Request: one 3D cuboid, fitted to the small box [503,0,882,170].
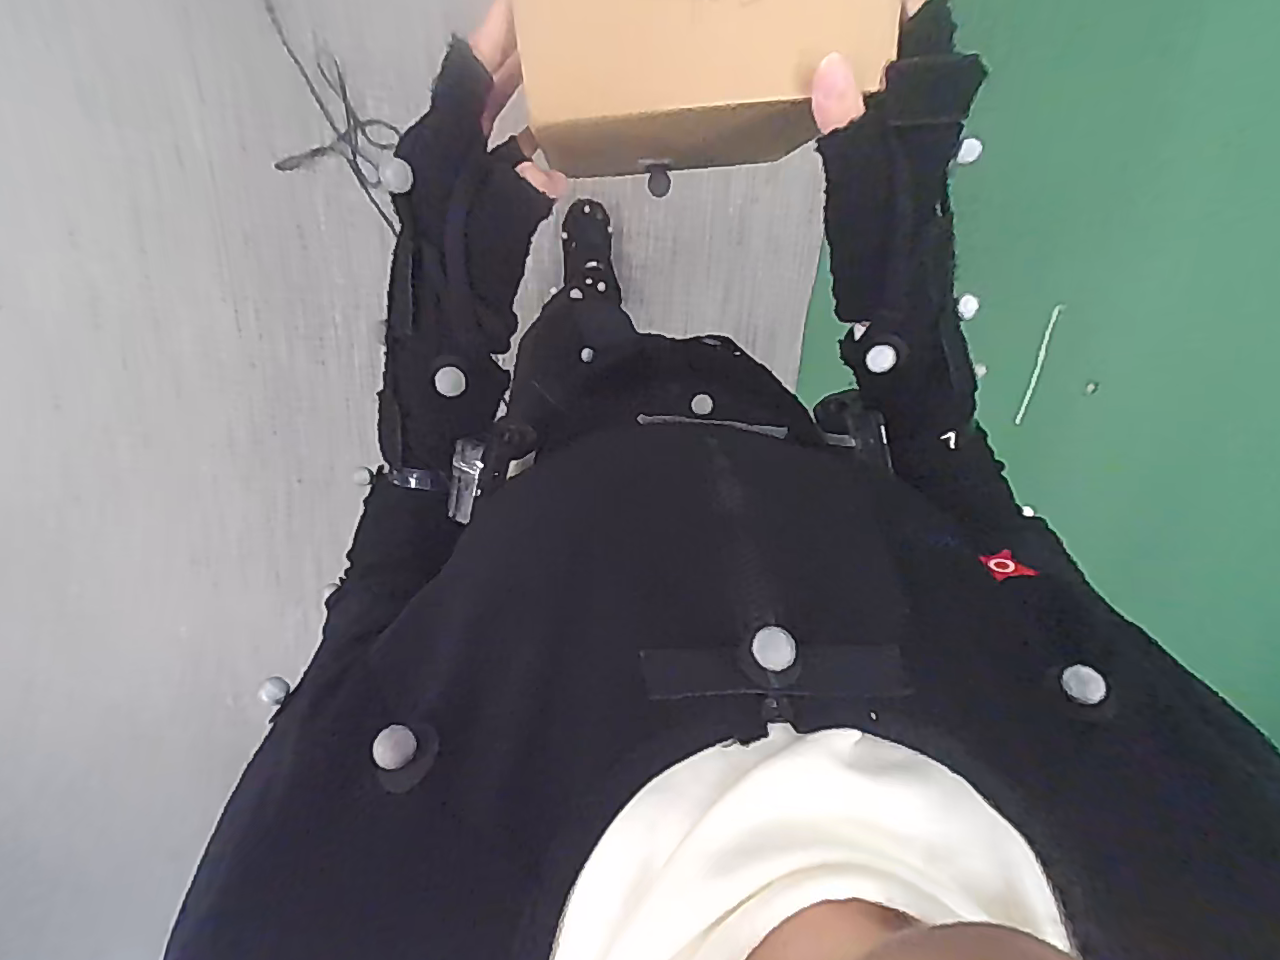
[{"bbox_3d":[0.013,-0.283,0.286,0.168,0.176,0.179,-6,111,-2],"label":"small box"}]
